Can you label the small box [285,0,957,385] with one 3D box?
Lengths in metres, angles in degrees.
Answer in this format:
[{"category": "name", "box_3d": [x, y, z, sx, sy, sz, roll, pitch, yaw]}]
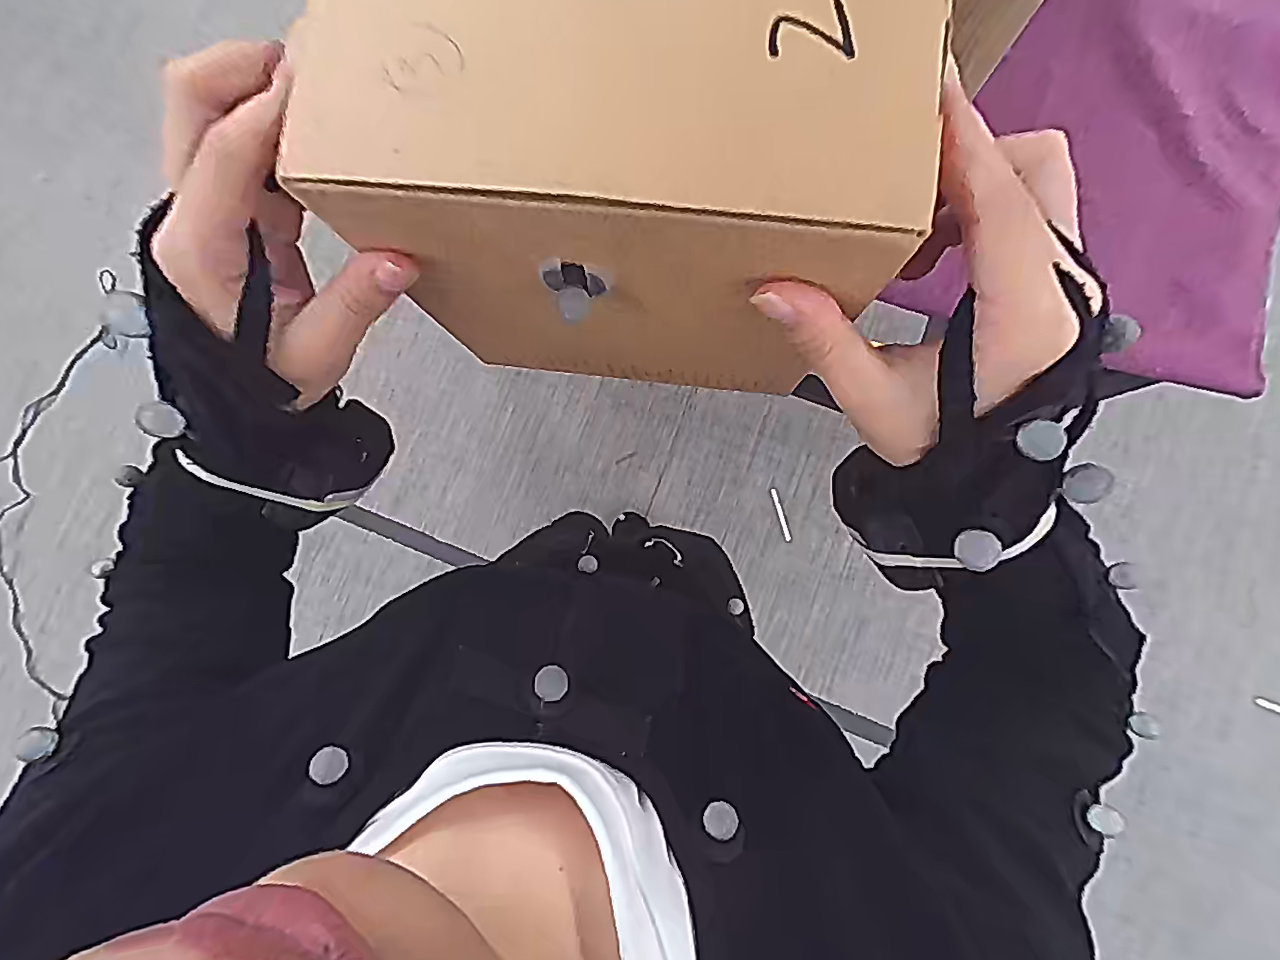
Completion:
[{"category": "small box", "box_3d": [0.004, -0.145, 0.226, 0.179, 0.176, 0.168, 7, 86, 4]}]
